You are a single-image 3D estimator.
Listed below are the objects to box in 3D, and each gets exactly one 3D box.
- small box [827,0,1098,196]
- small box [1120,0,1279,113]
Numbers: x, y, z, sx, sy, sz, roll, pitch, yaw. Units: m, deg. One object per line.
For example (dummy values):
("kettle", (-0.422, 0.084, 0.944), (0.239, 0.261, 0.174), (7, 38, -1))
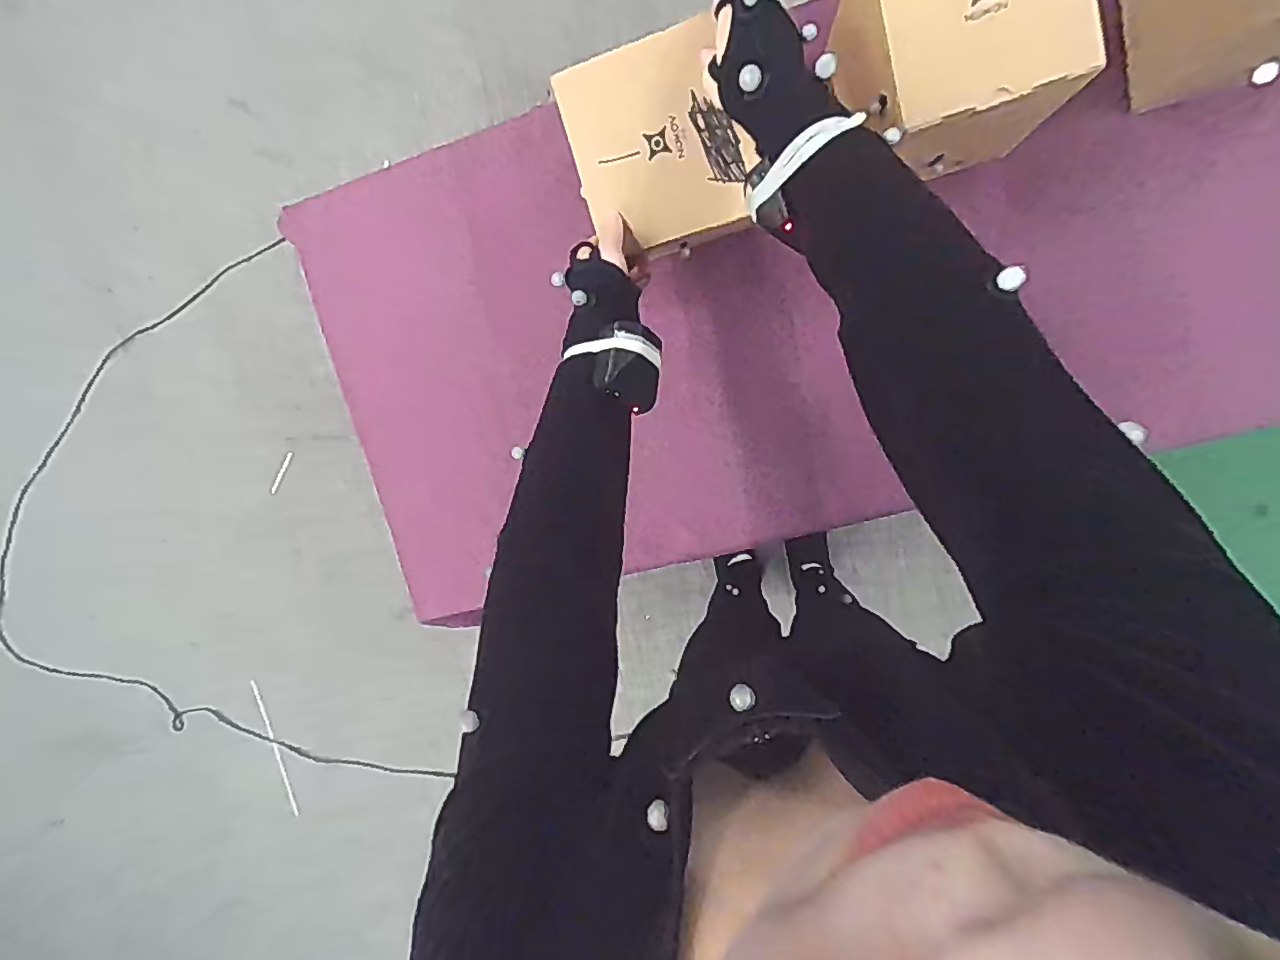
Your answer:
("small box", (0.298, -0.421, 0.538), (0.168, 0.176, 0.179), (-14, 97, 10))
("small box", (0.576, -0.479, 0.483), (0.168, 0.176, 0.179), (-12, 99, 10))
